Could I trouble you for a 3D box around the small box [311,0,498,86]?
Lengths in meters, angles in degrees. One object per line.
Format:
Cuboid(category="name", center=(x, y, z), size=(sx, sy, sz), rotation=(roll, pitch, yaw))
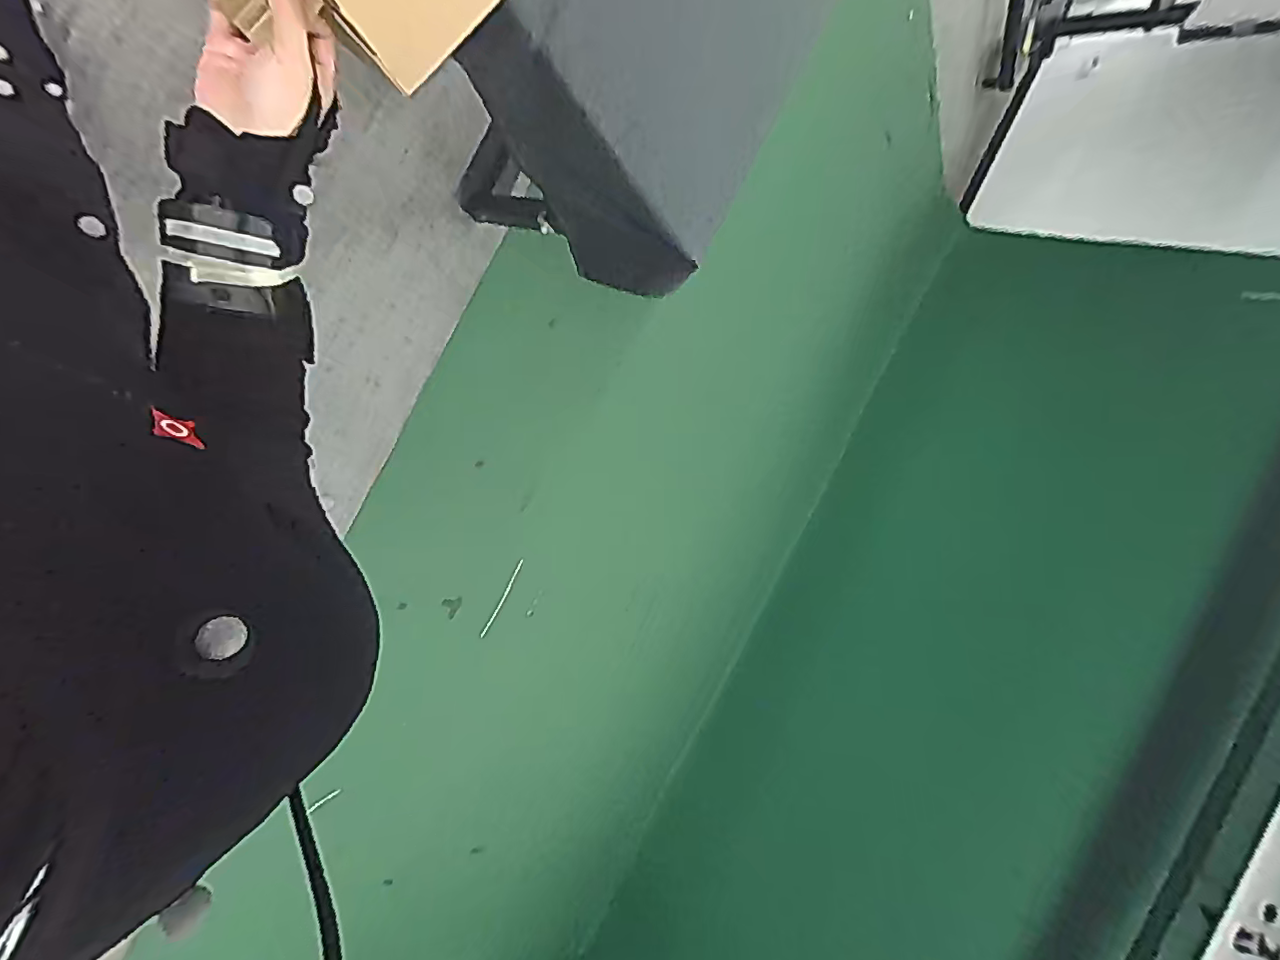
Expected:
Cuboid(category="small box", center=(-0.178, -0.414, 0.339), size=(0.179, 0.176, 0.168), rotation=(-44, 157, 4))
